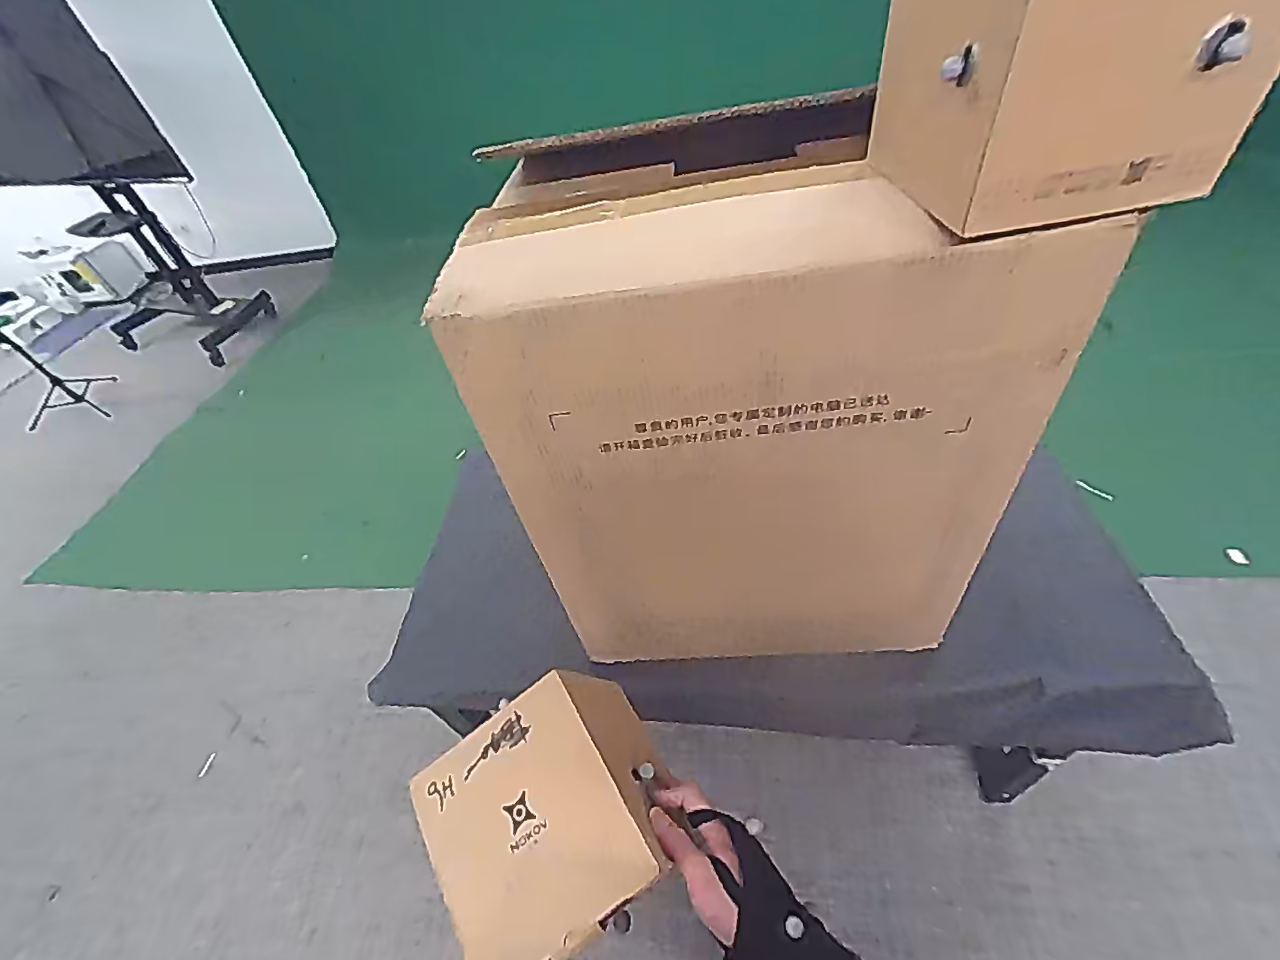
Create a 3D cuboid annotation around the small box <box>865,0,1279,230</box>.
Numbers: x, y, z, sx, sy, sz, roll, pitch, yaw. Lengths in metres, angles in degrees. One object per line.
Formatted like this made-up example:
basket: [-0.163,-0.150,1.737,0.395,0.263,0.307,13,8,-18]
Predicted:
small box: [0.275,-0.285,0.367,0.168,0.176,0.179,-8,45,1]
